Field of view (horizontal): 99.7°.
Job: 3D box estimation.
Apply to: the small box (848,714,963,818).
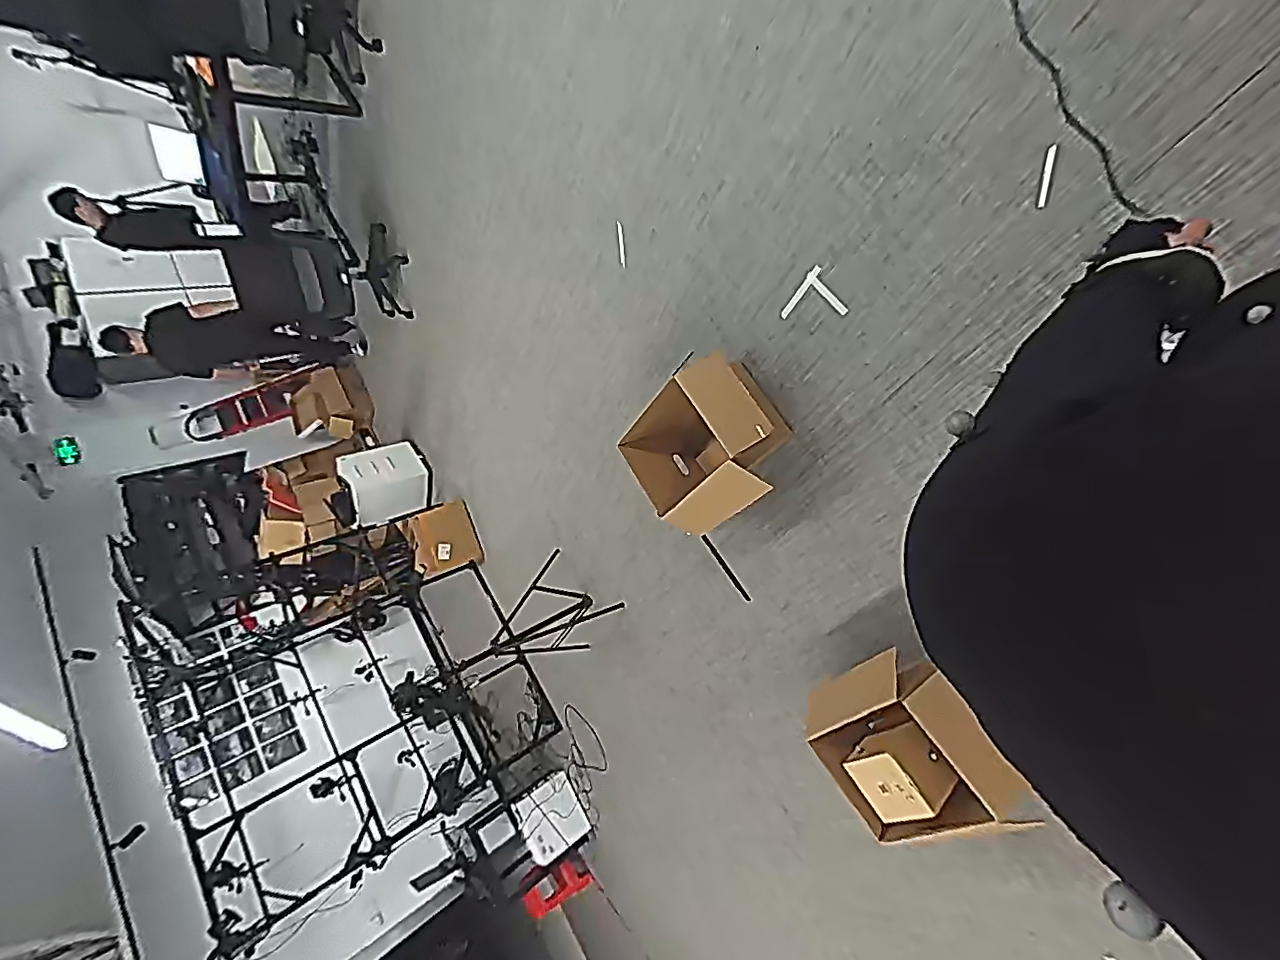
[{"bbox_3d":[0.691,0.742,1.406,0.168,0.176,0.179,55,140,18],"label":"small box"}]
